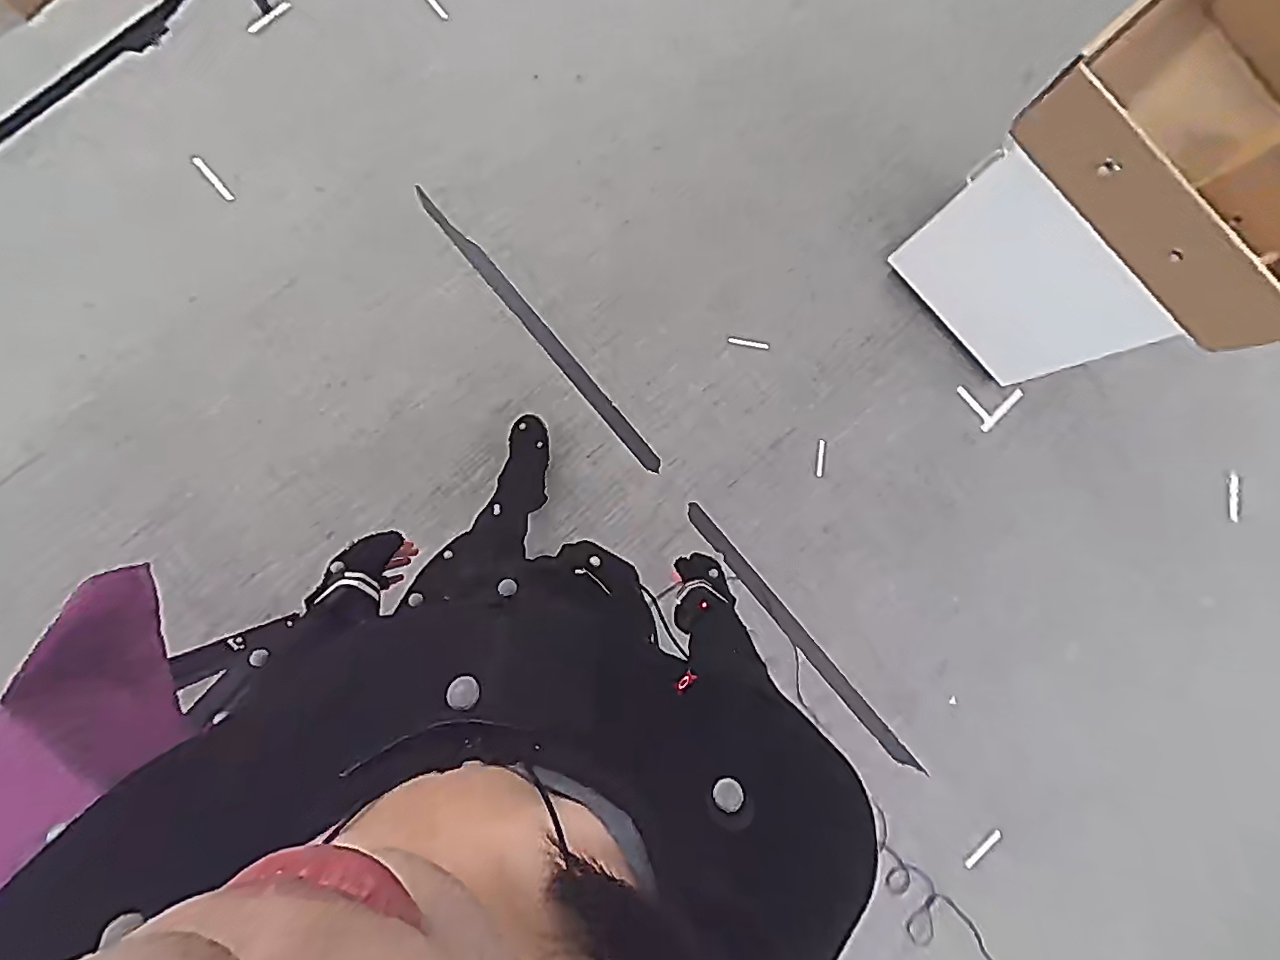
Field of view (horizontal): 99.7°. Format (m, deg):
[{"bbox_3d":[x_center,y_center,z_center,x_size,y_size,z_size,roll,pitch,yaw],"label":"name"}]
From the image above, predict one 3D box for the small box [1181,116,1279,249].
[{"bbox_3d":[1.134,-0.535,0.942,0.168,0.176,0.179,-42,89,0],"label":"small box"}]
